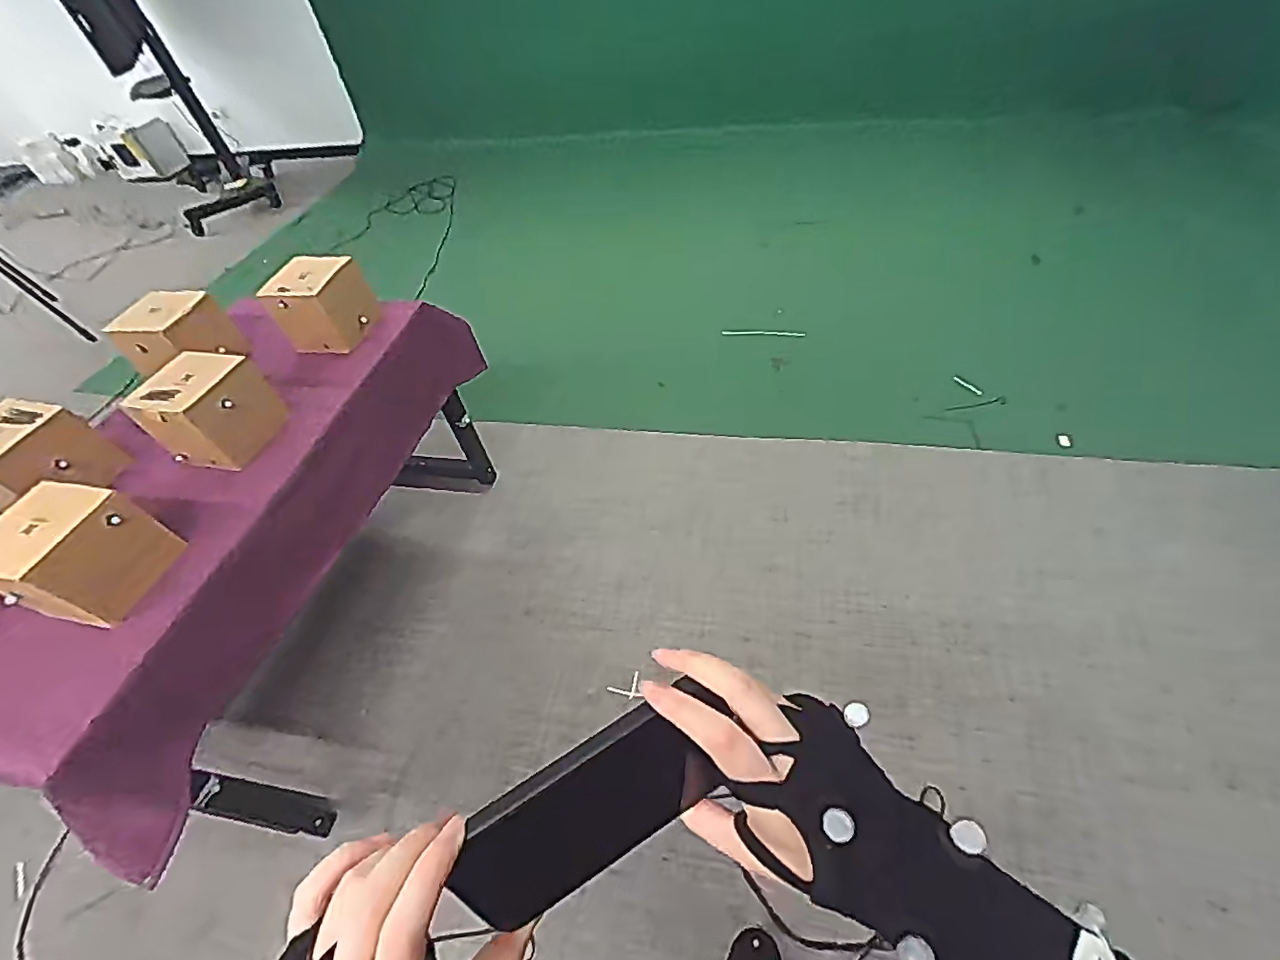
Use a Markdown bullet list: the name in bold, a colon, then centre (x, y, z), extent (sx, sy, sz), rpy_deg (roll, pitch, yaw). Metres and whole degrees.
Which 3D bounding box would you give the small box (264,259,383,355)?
- **small box**: centre (-0.789, -0.440, 1.374), extent (0.168, 0.176, 0.179), rpy_deg (4, 51, 12)

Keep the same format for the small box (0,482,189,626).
- **small box**: centre (-0.941, 0.128, 0.921), extent (0.168, 0.176, 0.179), rpy_deg (6, 50, 13)

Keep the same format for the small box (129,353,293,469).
- **small box**: centre (-0.886, -0.143, 1.140), extent (0.168, 0.176, 0.179), rpy_deg (7, 51, 14)

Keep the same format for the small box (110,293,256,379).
- **small box**: centre (-1.119, -0.343, 1.339), extent (0.179, 0.176, 0.168), rpy_deg (3, 51, 10)
